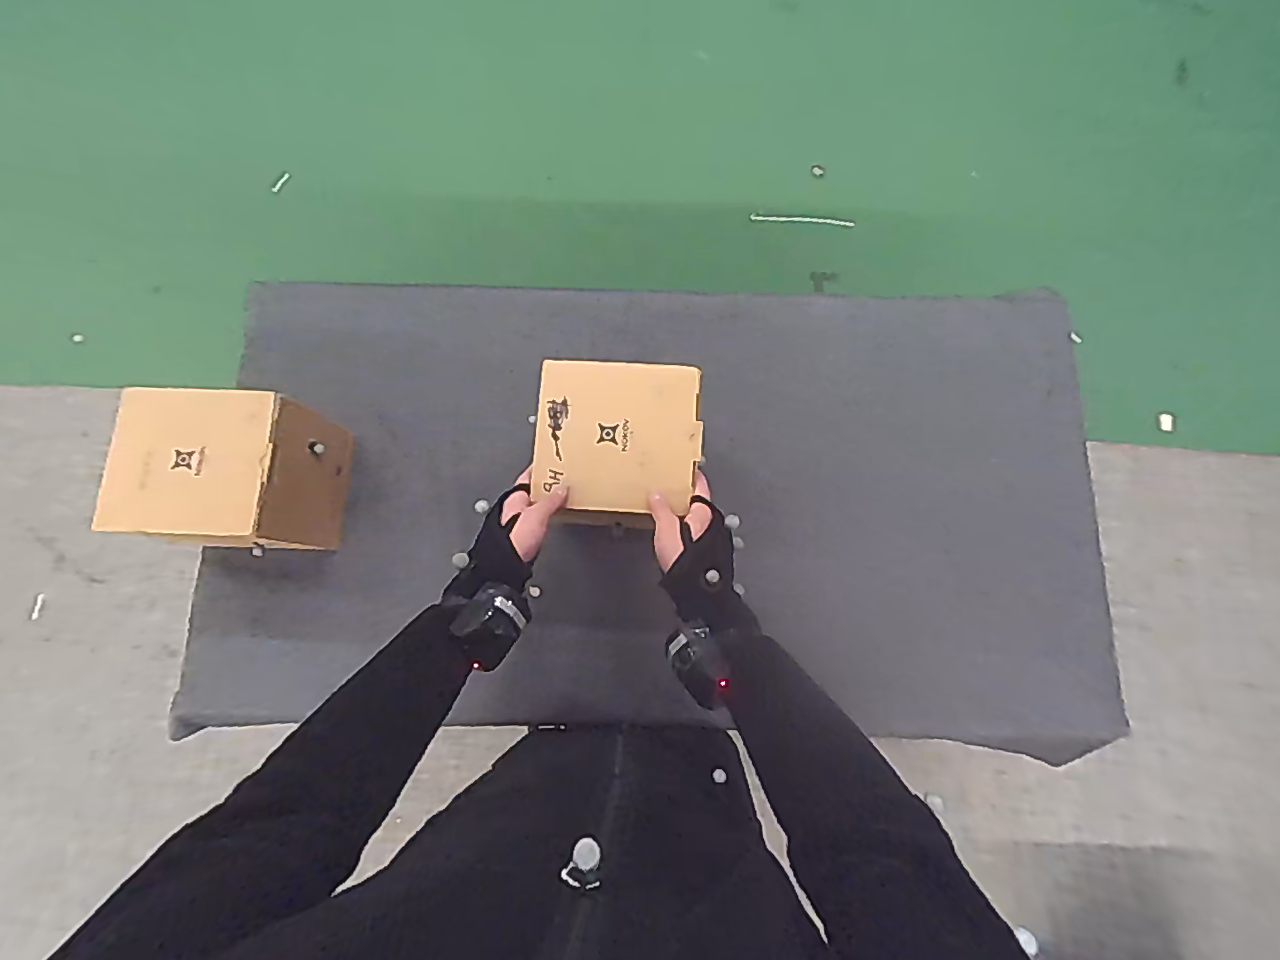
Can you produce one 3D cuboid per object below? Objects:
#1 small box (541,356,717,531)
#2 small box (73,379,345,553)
[{"bbox_3d":[-0.012,-0.032,0.645,0.179,0.176,0.168,4,78,-1],"label":"small box"},{"bbox_3d":[-0.479,-0.006,0.635,0.179,0.176,0.168,1,76,-1],"label":"small box"}]
